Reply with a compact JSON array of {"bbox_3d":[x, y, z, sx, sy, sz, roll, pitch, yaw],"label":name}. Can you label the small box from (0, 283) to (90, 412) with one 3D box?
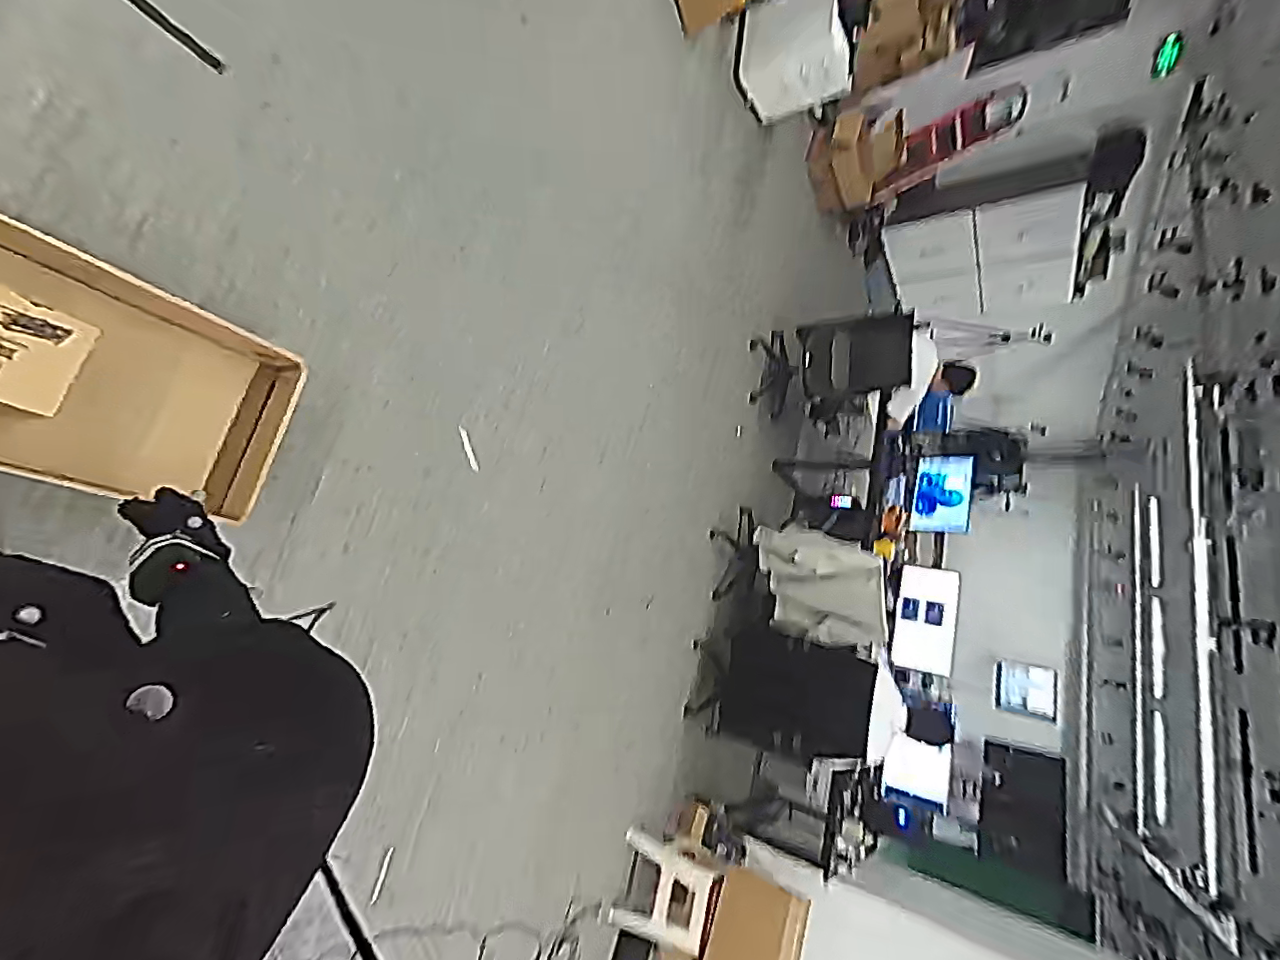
[{"bbox_3d":[-1.086,-0.226,0.902,0.168,0.176,0.179,34,66,-51],"label":"small box"}]
